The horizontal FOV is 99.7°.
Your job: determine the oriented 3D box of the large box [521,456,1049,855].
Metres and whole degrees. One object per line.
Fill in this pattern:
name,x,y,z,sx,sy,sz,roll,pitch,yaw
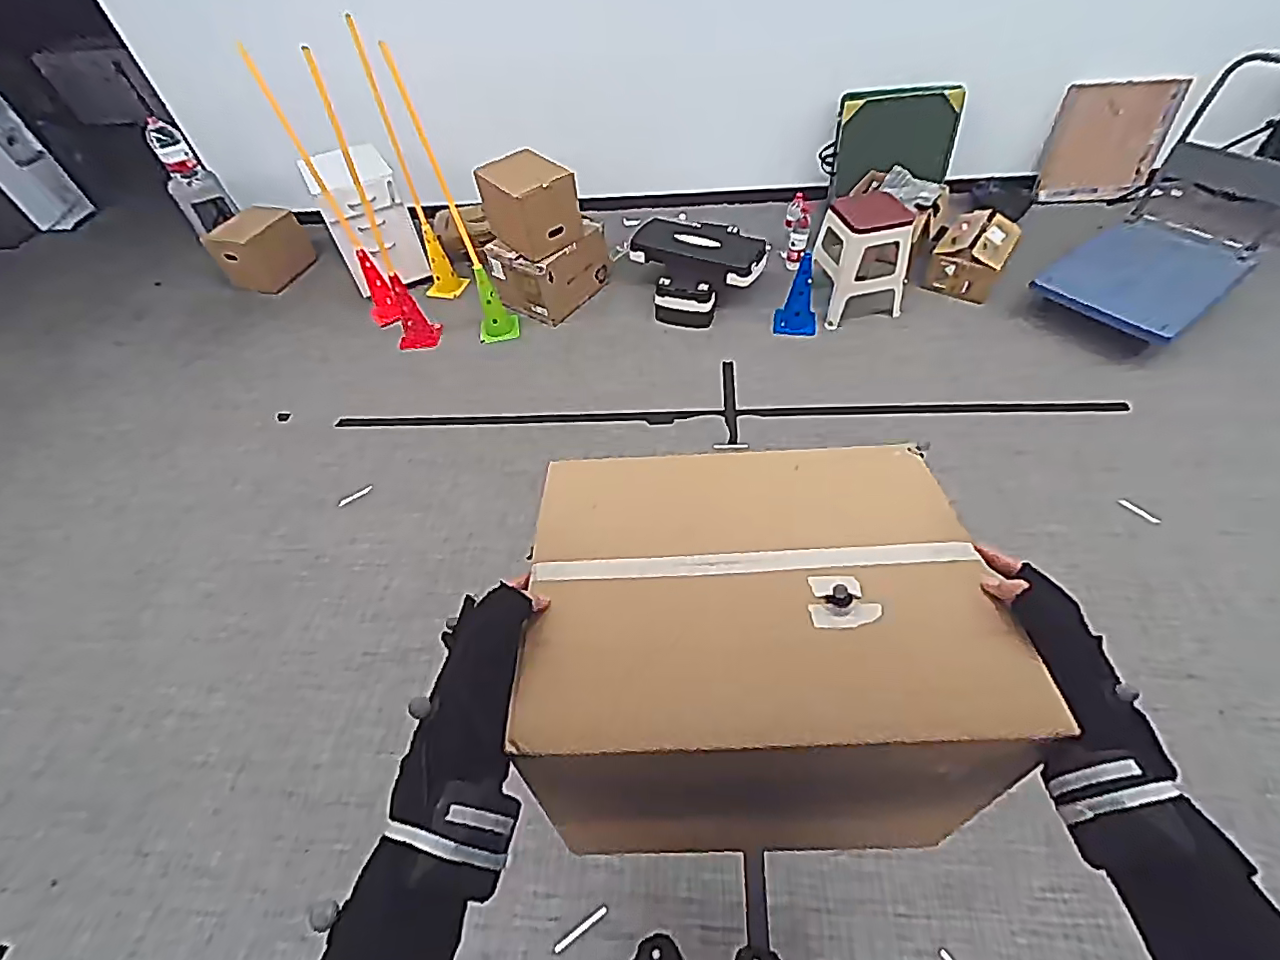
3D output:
large box,0.110,0.197,0.610,0.408,0.320,0.320,-3,44,2
